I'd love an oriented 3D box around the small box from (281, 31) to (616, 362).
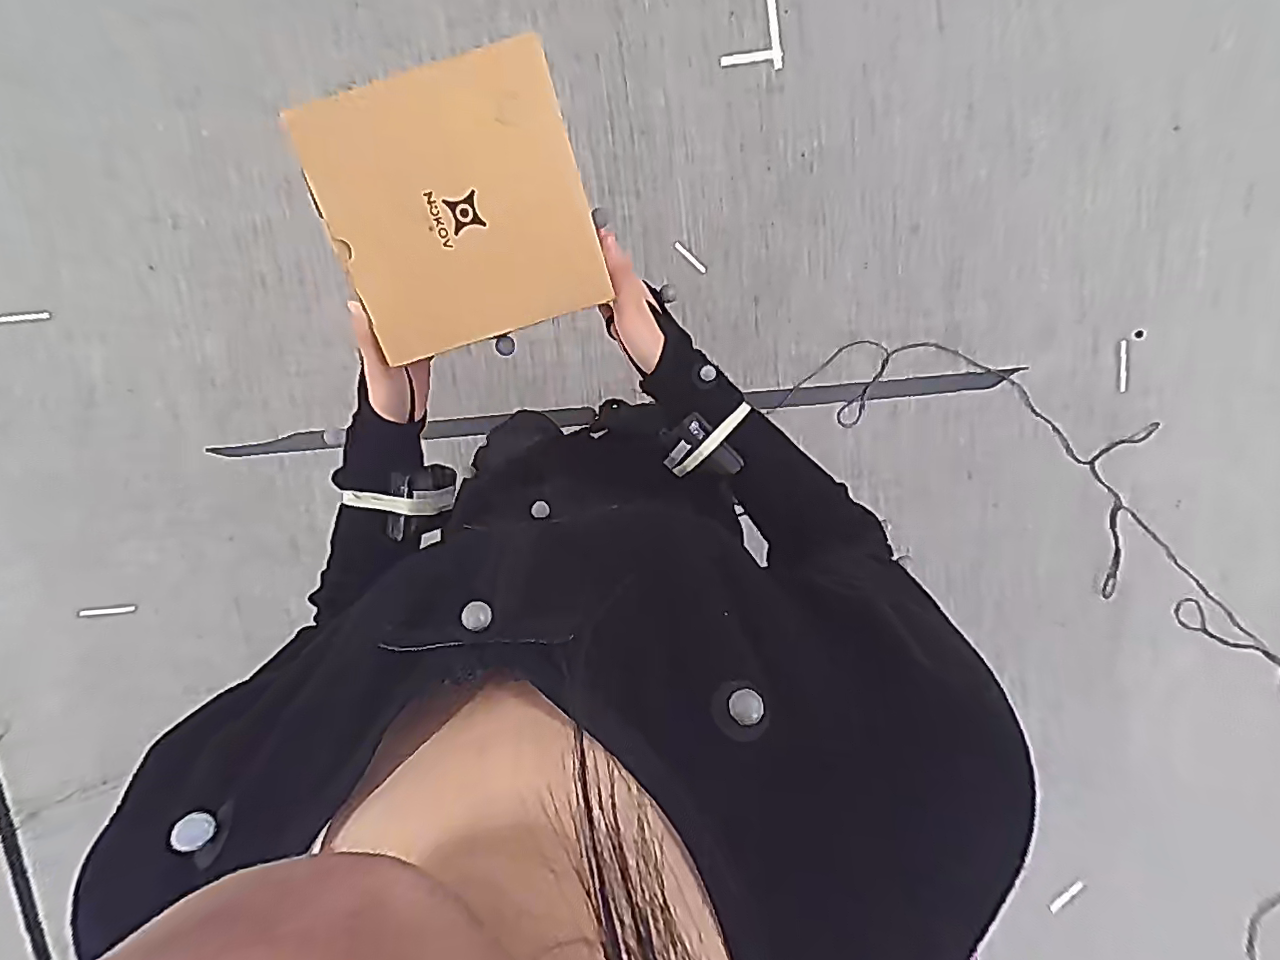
[{"bbox_3d":[-0.128,-0.211,0.438,0.179,0.176,0.168,-17,111,2],"label":"small box"}]
